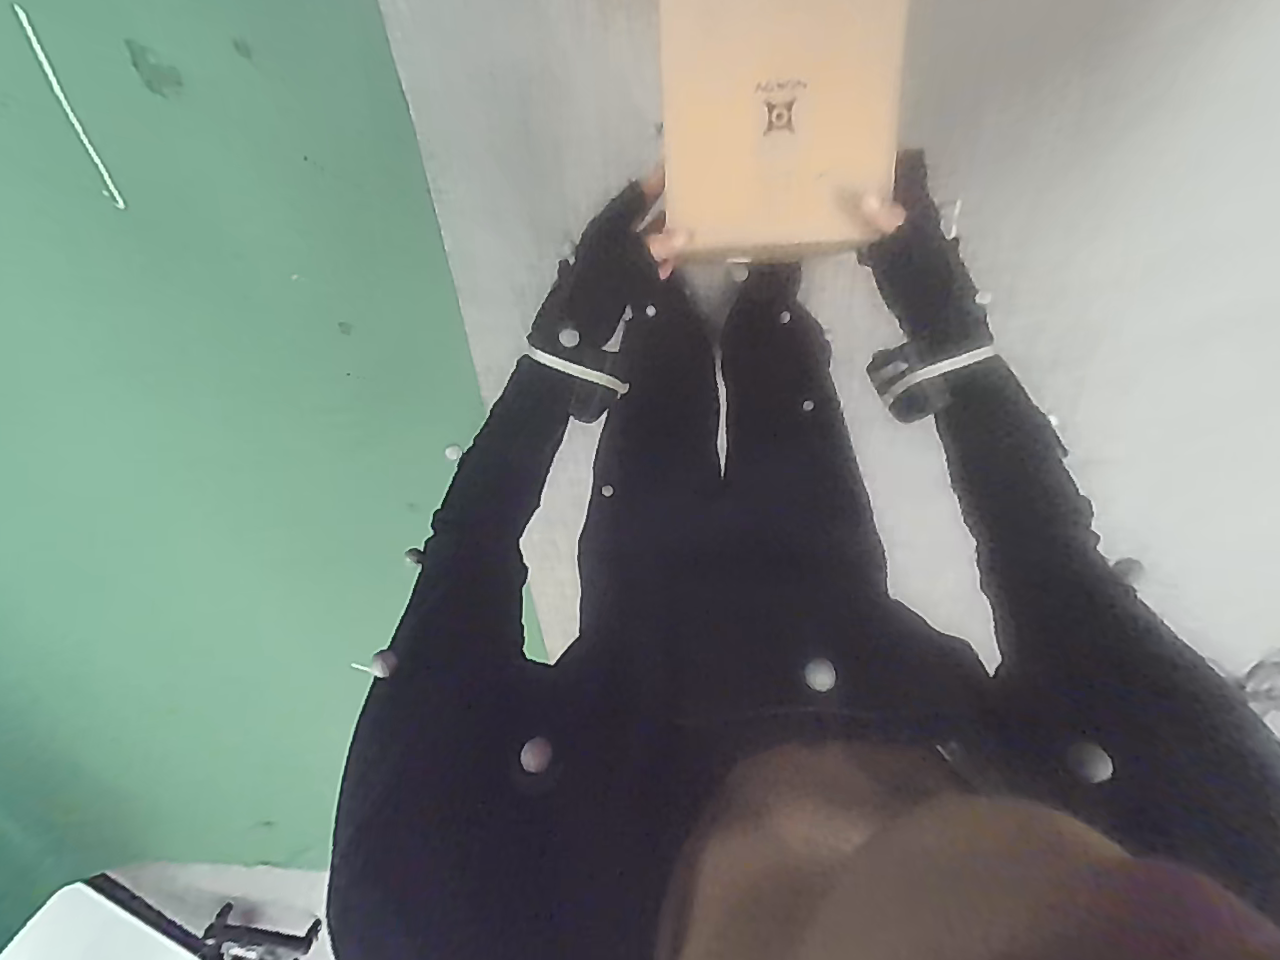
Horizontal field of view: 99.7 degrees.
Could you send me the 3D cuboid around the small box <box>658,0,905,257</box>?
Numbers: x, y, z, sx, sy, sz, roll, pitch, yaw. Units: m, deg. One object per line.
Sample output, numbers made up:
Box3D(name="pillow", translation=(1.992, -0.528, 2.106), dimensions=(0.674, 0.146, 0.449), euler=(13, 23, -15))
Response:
Box3D(name="small box", translation=(0.100, -0.292, 0.451), dimensions=(0.168, 0.176, 0.179), euler=(-2, 107, 5))
